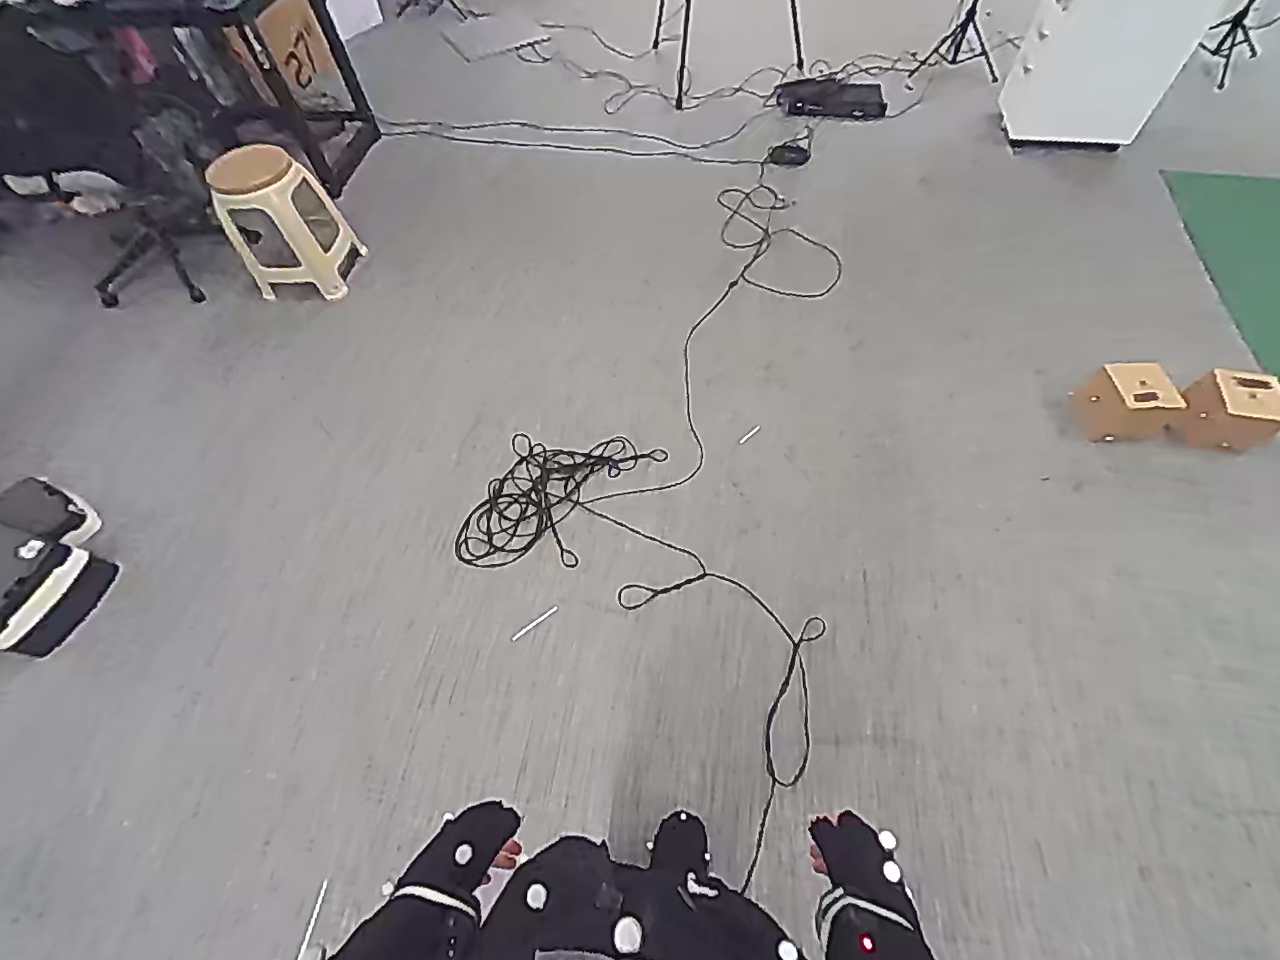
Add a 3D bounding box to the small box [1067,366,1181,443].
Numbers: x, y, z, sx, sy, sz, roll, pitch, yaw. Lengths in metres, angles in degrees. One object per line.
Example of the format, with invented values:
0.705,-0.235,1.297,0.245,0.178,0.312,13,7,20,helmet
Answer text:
1.468,-0.227,1.654,0.168,0.176,0.179,-1,57,2,small box
